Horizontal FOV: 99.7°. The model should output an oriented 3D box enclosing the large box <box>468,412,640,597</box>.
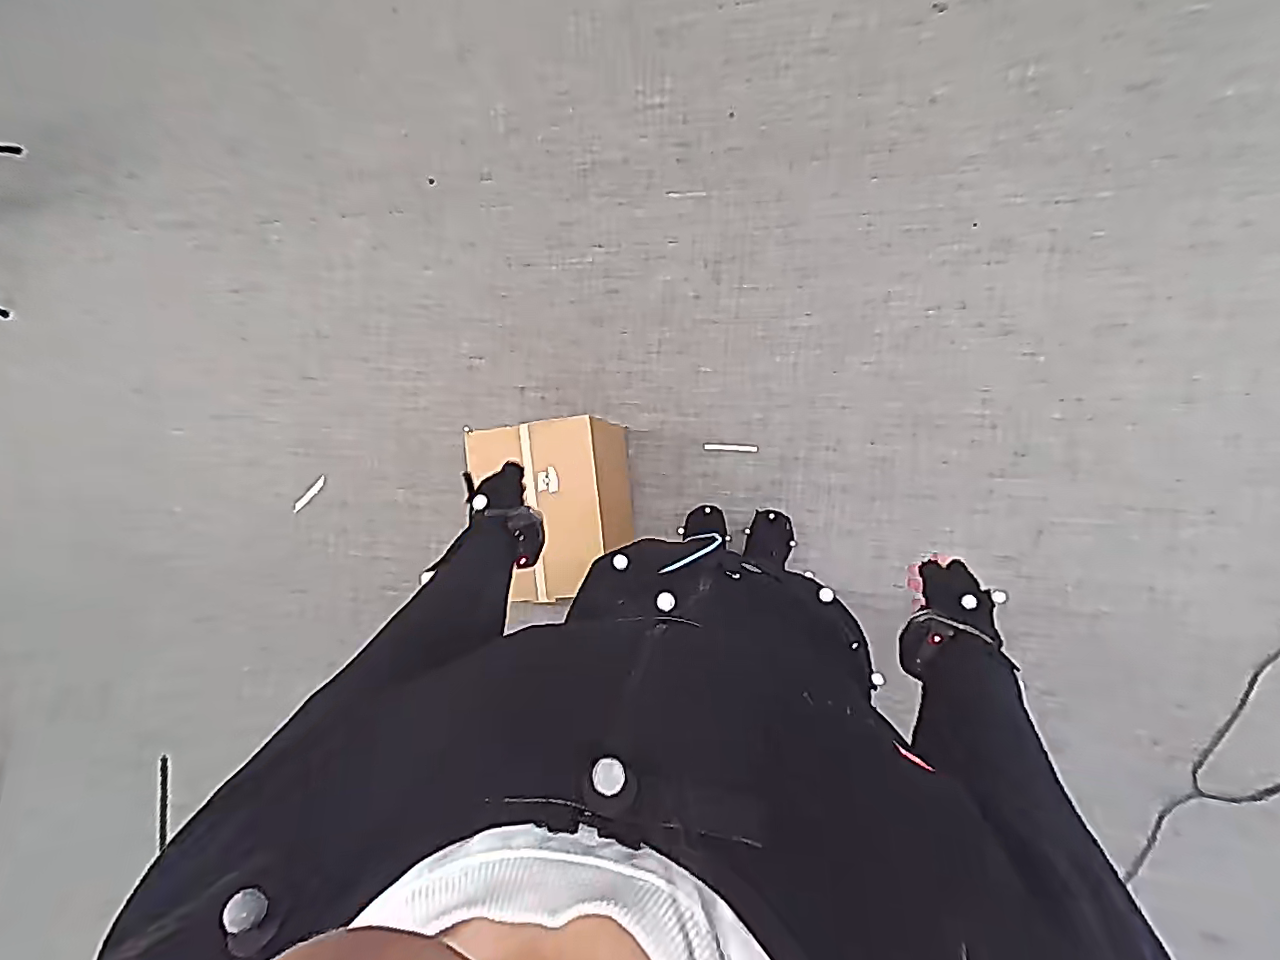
[{"bbox_3d":[-0.203,0.063,1.382,0.320,0.320,0.408,-7,88,12],"label":"large box"}]
